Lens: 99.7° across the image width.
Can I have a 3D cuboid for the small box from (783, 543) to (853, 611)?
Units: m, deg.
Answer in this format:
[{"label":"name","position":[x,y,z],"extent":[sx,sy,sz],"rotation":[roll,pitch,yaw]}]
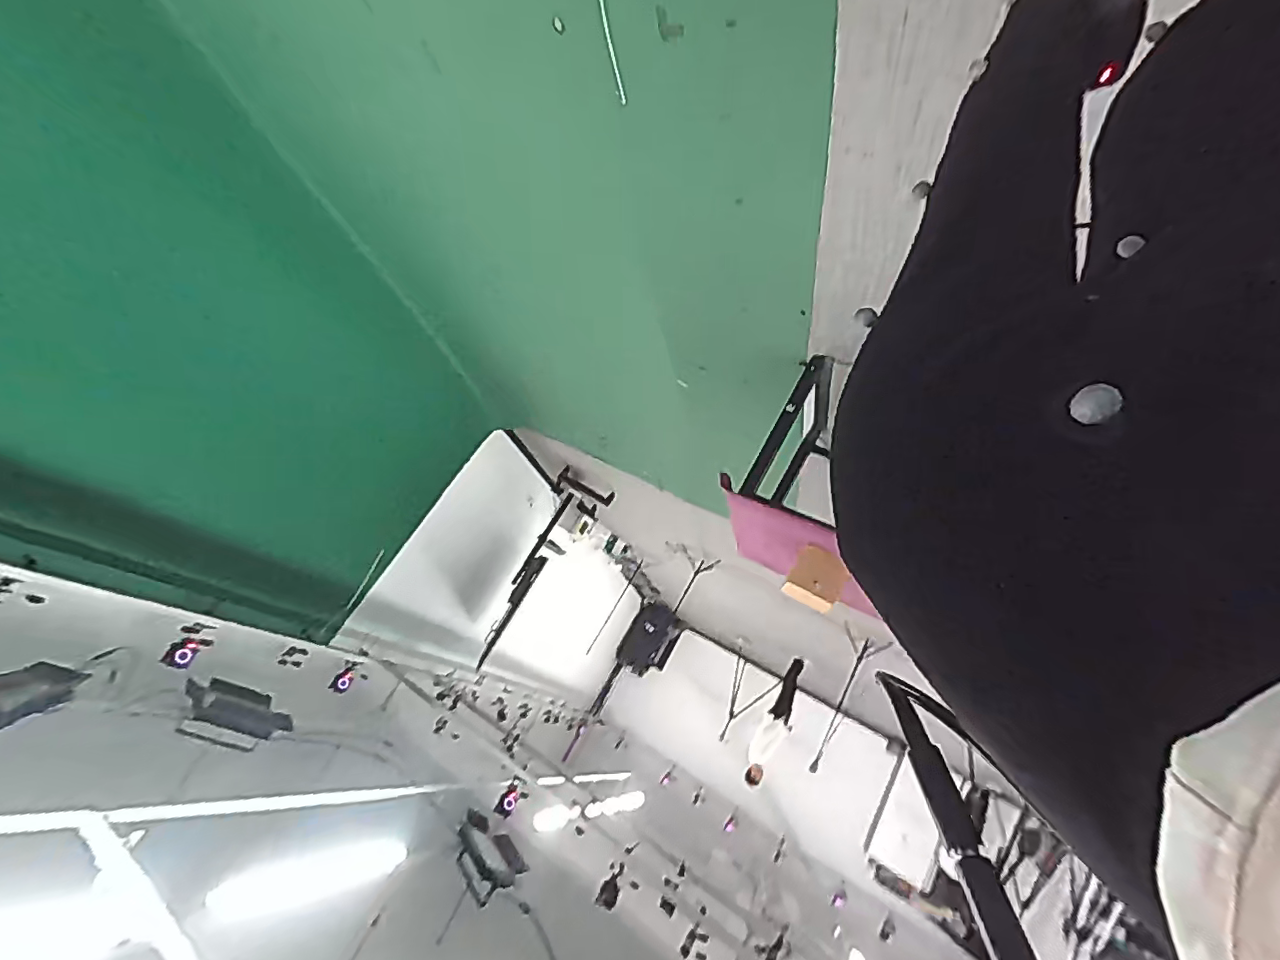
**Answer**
[{"label":"small box","position":[0.642,0.349,1.951],"extent":[0.179,0.176,0.168],"rotation":[27,162,15]}]
